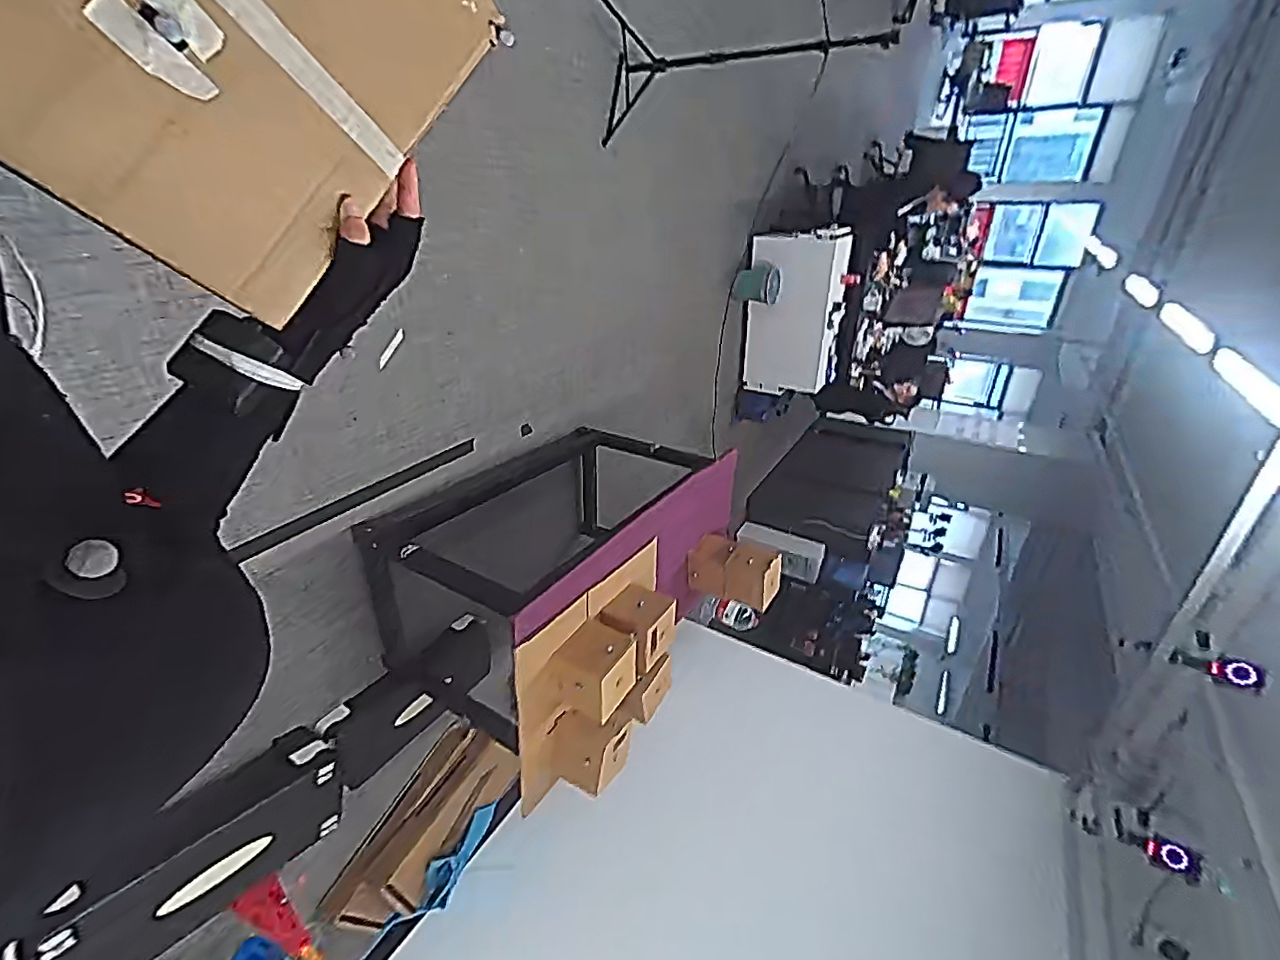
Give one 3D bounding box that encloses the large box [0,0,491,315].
[{"bbox_3d":[-0.396,-0.381,0.354,0.320,0.320,0.408,-58,147,-6],"label":"large box"}]
